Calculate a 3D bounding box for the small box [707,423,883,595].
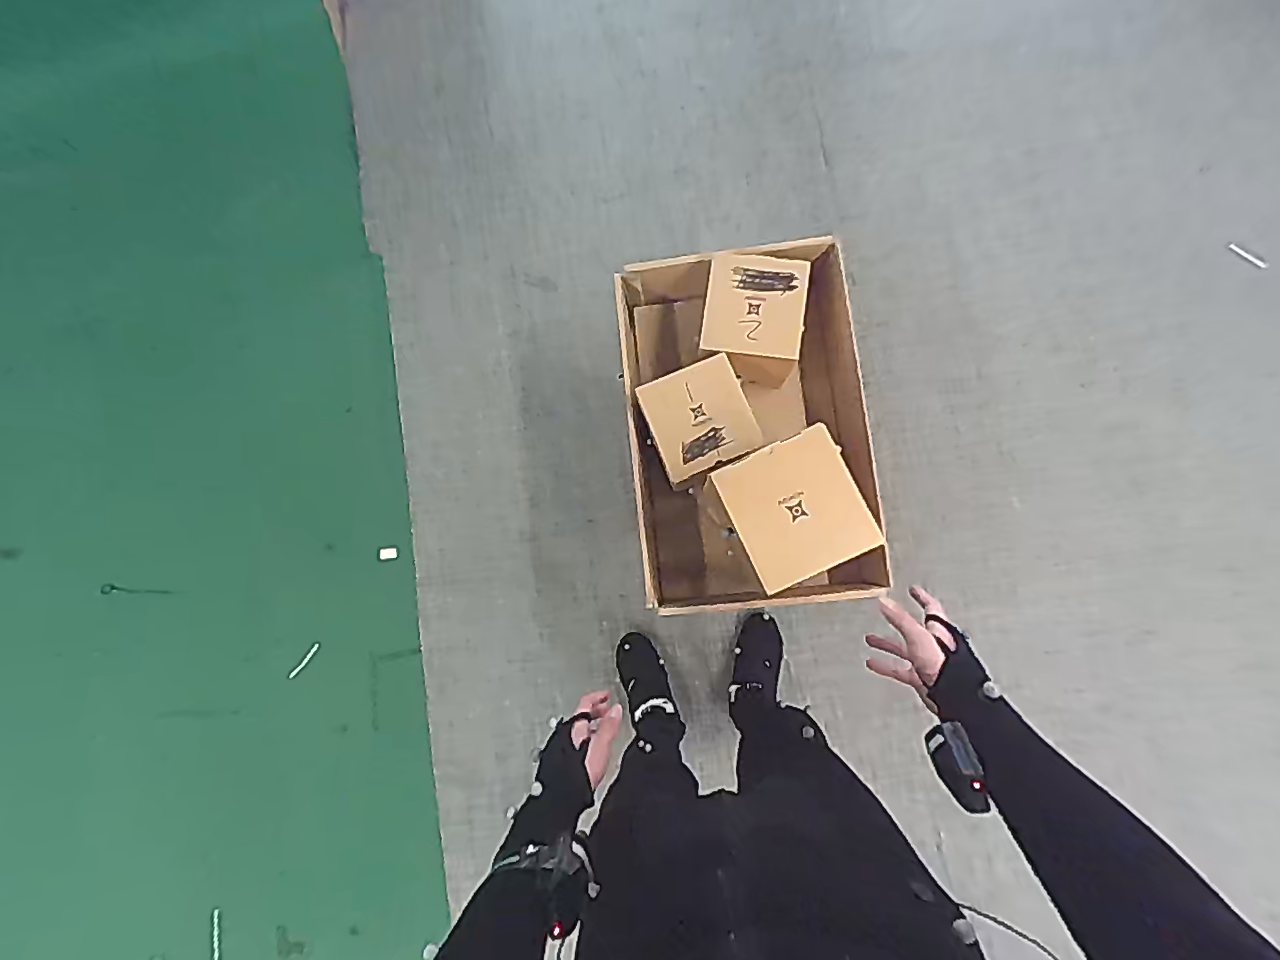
[{"bbox_3d":[0.206,0.045,0.766,0.168,0.176,0.179,-26,80,2],"label":"small box"}]
